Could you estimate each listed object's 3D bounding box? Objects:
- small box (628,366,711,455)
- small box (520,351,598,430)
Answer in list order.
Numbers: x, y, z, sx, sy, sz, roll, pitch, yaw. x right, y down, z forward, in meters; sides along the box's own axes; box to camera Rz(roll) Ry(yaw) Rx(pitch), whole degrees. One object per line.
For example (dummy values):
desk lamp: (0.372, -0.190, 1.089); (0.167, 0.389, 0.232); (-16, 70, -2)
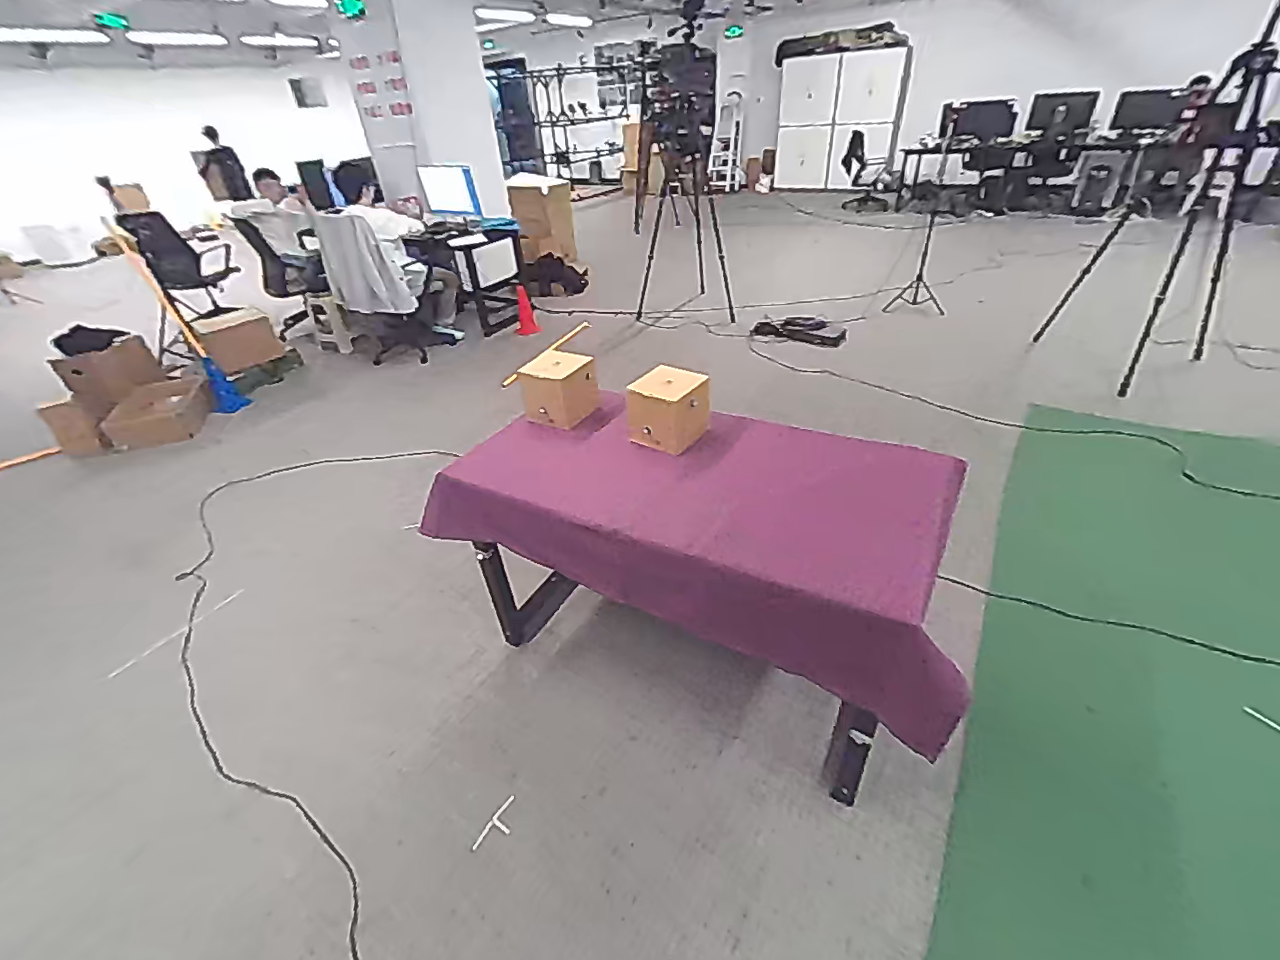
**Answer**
small box: (0.084, -0.197, 1.518); (0.168, 0.176, 0.179); (21, 44, 32)
small box: (-0.242, -0.277, 1.668); (0.168, 0.176, 0.179); (15, 40, 27)
